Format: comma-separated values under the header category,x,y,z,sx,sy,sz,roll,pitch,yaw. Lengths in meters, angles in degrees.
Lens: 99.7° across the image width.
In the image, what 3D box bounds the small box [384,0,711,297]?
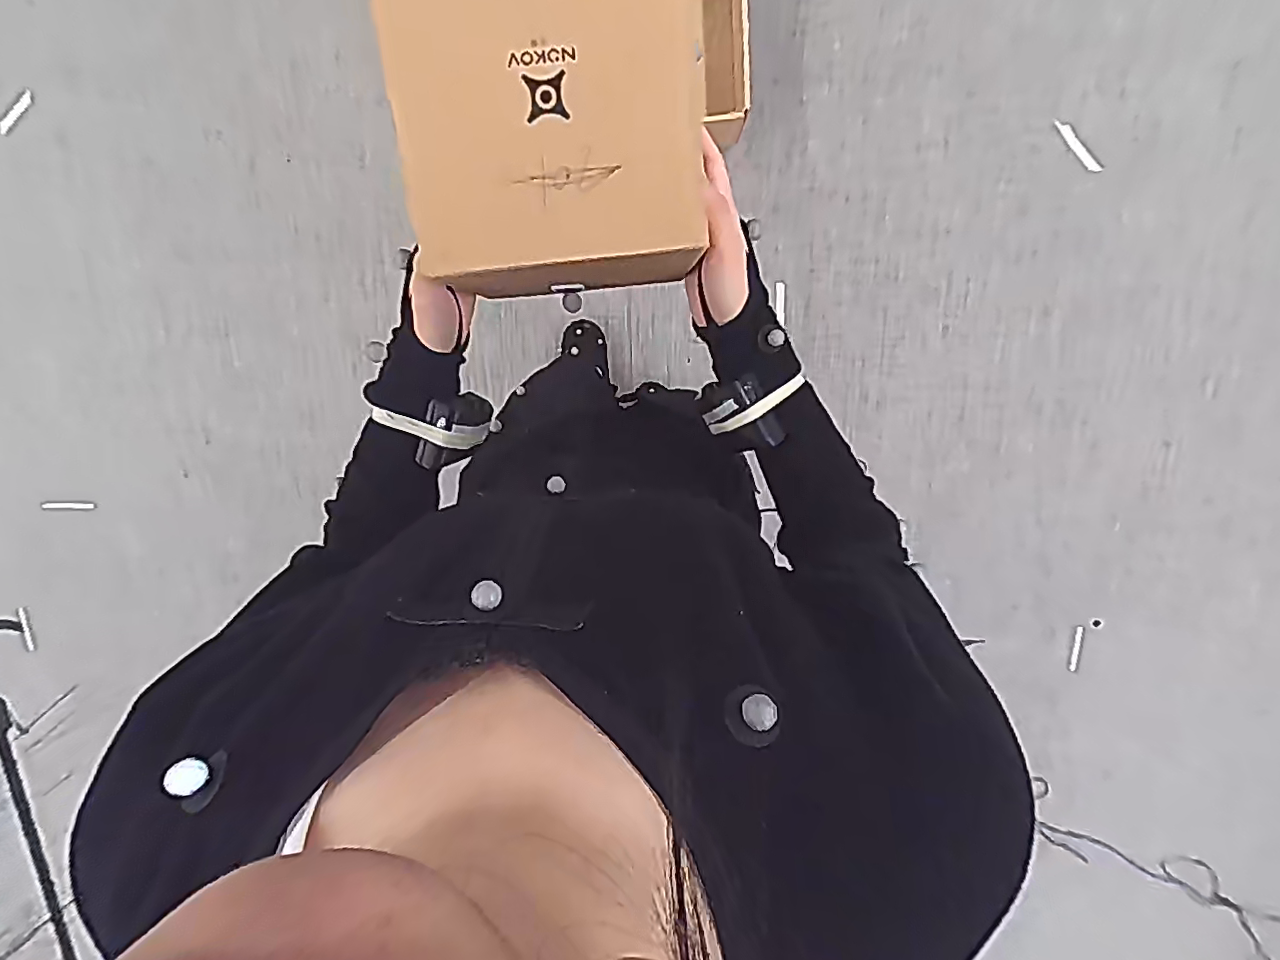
category,x,y,z,sx,sy,sz,roll,pitch,yaw
small box,-0.049,-0.230,0.368,0.168,0.176,0.179,-6,105,1
